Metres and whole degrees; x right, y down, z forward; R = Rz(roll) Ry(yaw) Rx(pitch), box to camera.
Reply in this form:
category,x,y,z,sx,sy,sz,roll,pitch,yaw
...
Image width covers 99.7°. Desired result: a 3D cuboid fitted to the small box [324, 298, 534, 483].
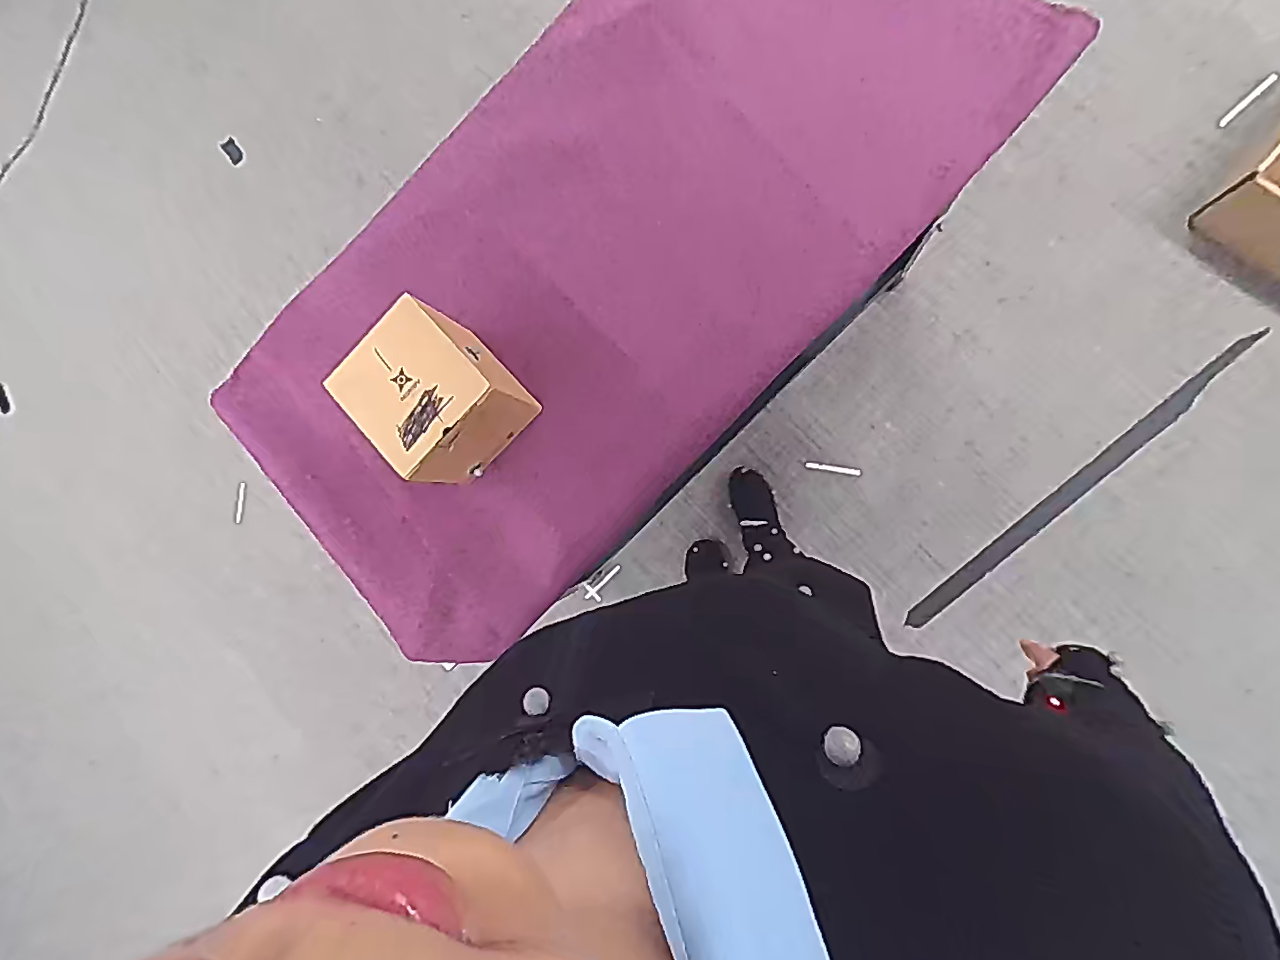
category,x,y,z,sx,sy,sz,roll,pitch,yaw
small box,-0.279,-0.112,0.752,0.168,0.176,0.179,-44,80,6
